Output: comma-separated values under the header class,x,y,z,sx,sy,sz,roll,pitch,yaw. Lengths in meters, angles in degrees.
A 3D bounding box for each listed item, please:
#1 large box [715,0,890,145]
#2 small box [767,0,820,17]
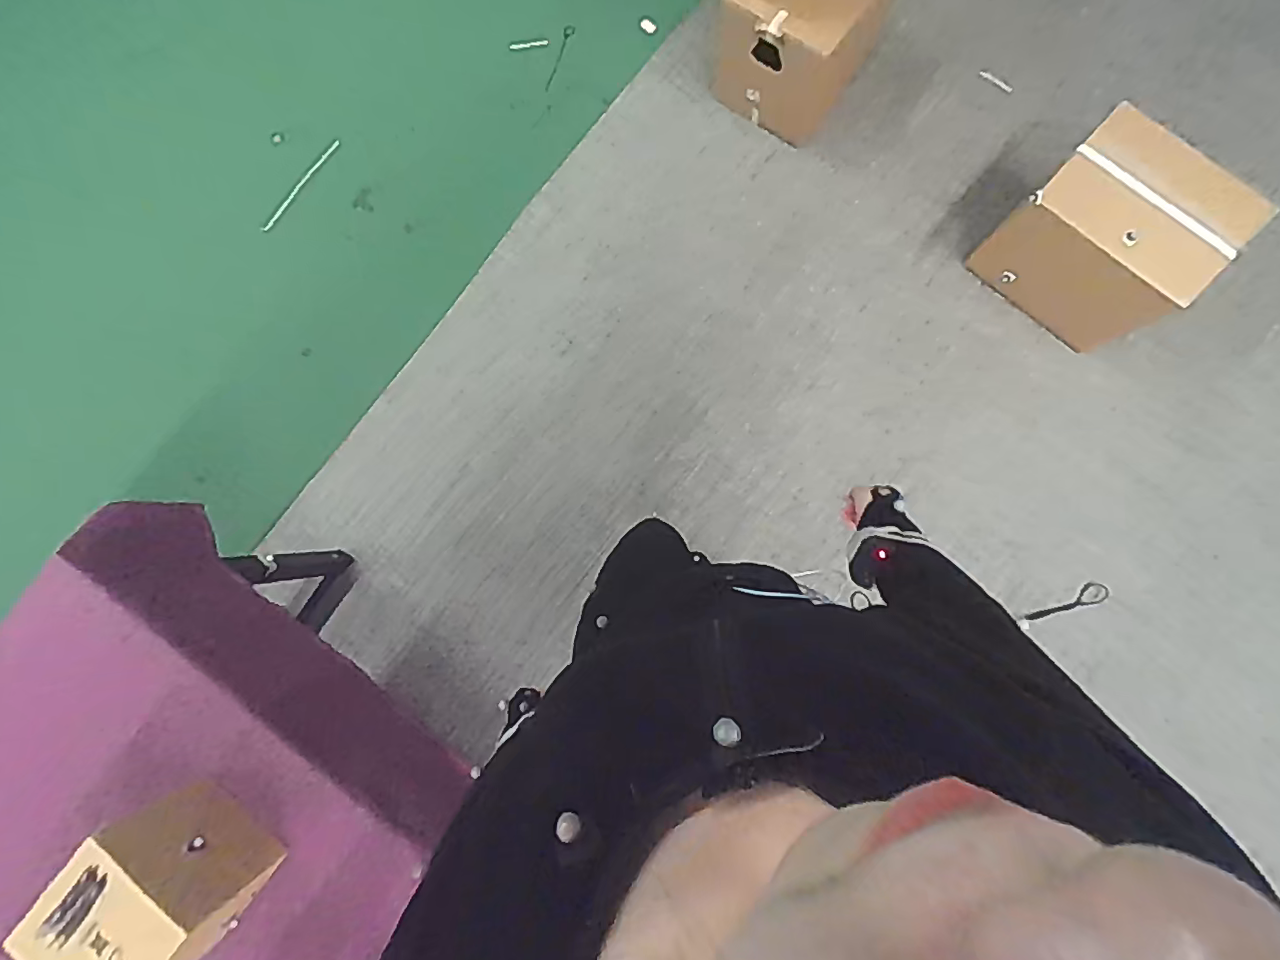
class,x,y,z,sx,sy,sz,roll,pitch,yaw
large box,0.444,-1.237,1.470,0.320,0.320,0.408,36,87,7
small box,0.370,-1.216,1.228,0.179,0.176,0.168,35,87,8
